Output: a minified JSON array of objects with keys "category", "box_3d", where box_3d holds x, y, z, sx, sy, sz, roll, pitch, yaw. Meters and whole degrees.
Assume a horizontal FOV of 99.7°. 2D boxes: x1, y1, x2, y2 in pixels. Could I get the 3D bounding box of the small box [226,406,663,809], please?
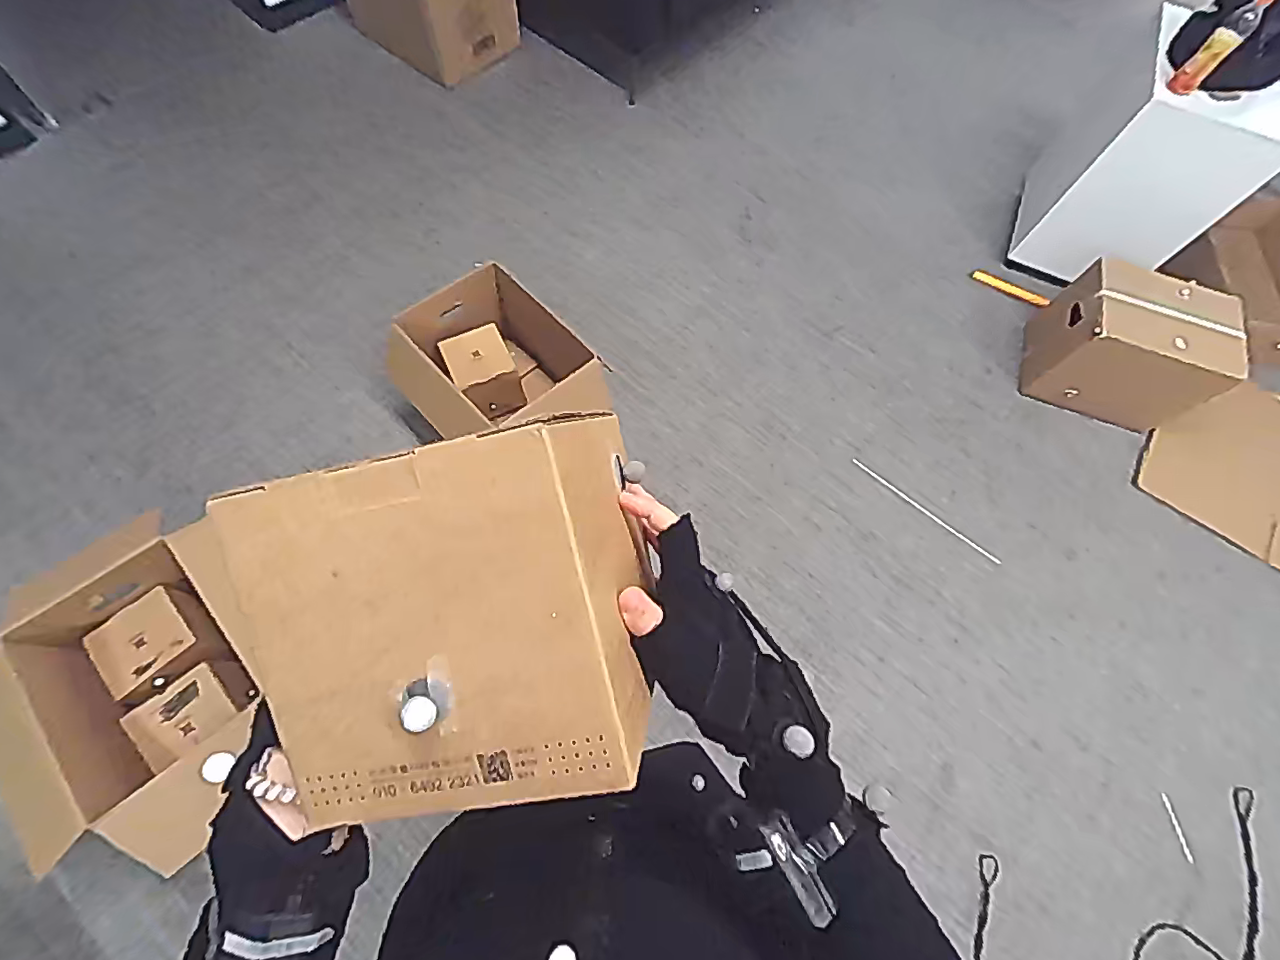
[{"category":"small box","box_3d":[-0.086,0.056,0.325,0.168,0.179,0.176,-12,97,9]}]
